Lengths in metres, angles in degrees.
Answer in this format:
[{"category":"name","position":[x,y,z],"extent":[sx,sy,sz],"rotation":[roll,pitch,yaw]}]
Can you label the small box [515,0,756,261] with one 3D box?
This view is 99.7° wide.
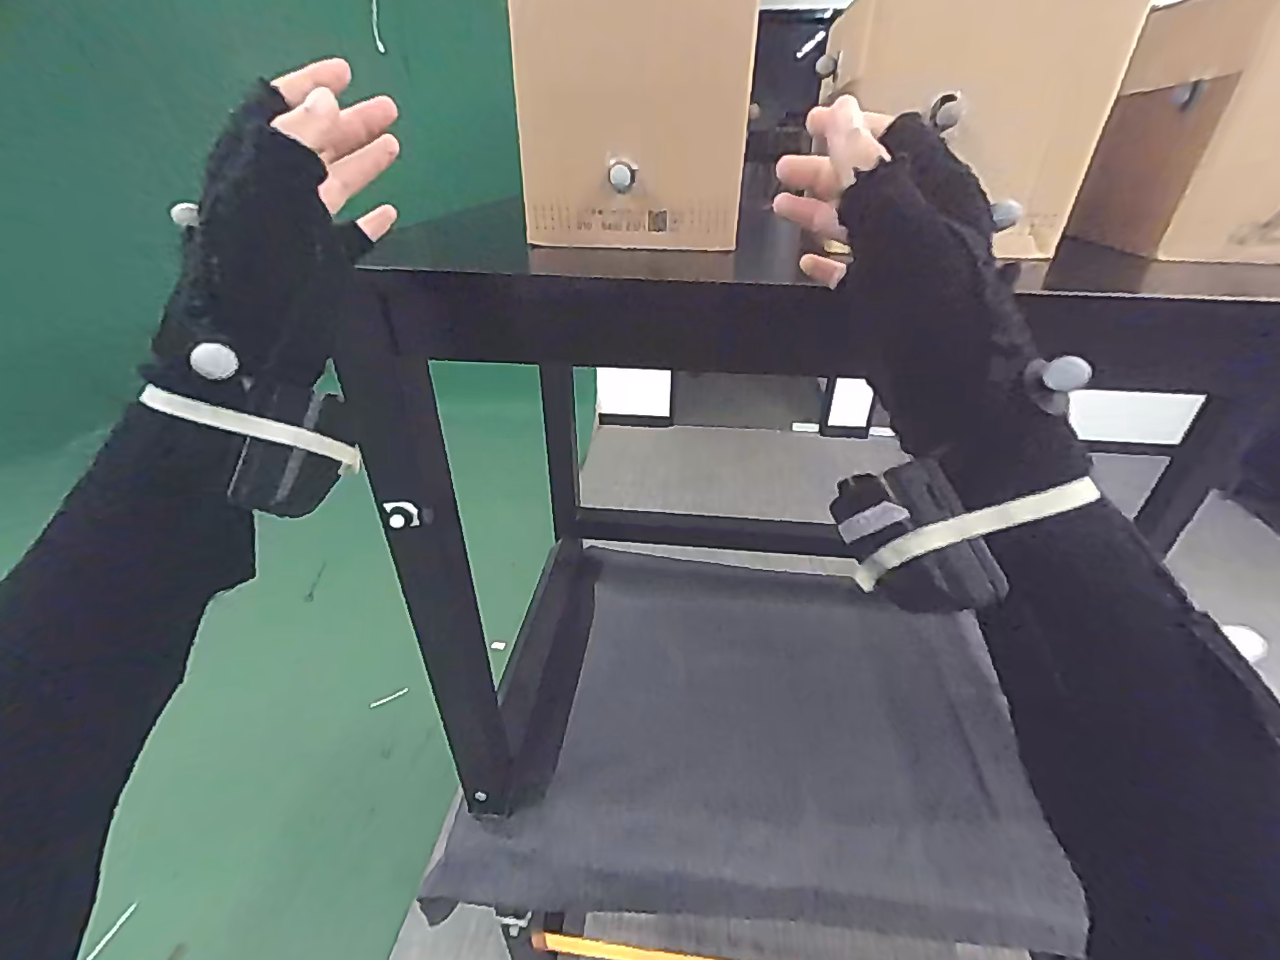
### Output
[{"category":"small box","position":[0.001,-0.296,0.467],"extent":[0.168,0.176,0.179],"rotation":[3,32,4]}]
